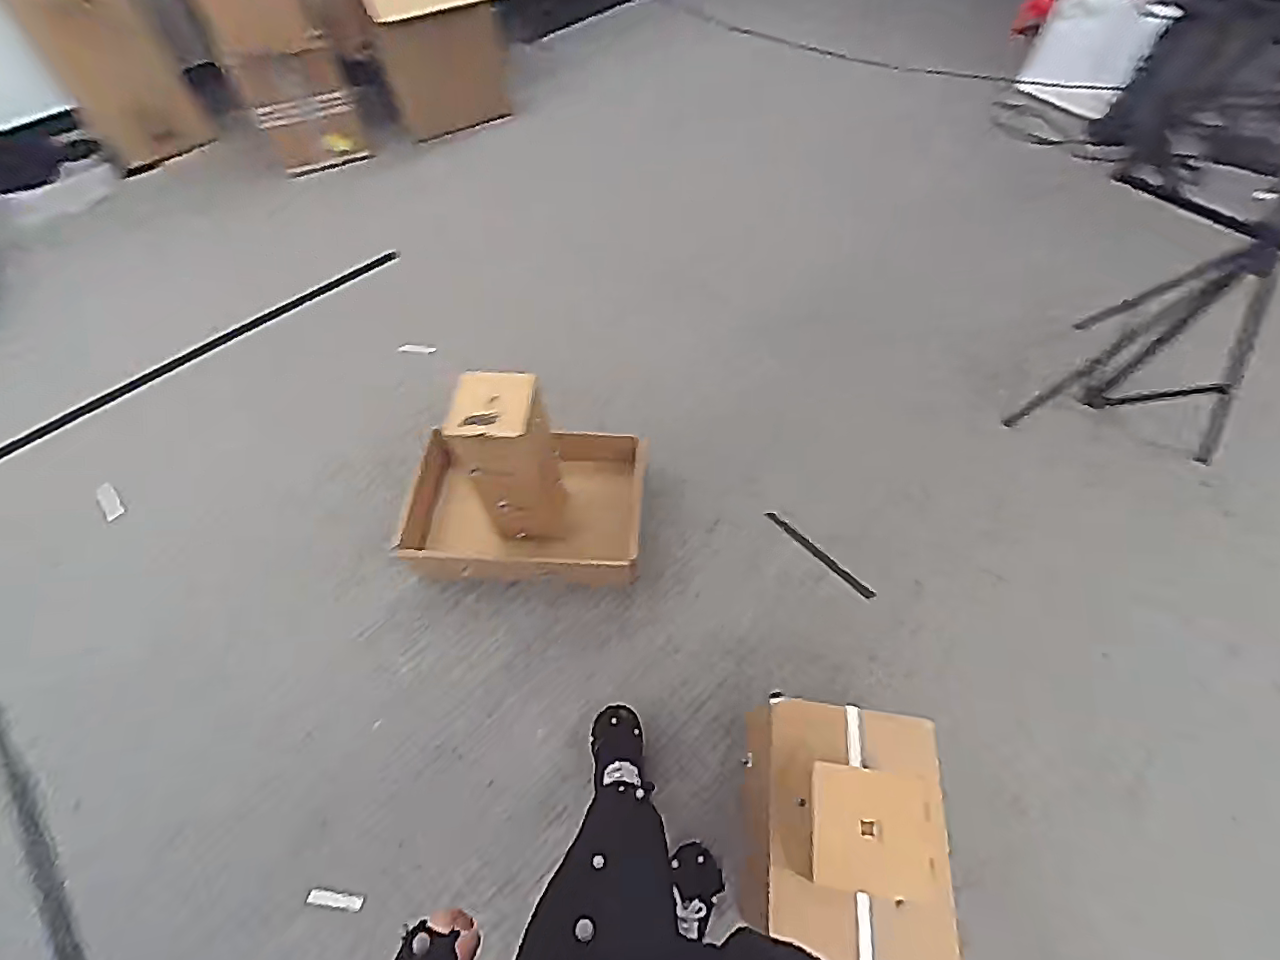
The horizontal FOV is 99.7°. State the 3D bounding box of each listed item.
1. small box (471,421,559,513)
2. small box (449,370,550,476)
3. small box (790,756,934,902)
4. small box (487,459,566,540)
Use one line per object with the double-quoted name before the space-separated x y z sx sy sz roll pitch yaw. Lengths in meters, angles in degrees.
"small box" -0.304 -0.036 1.360 0.168 0.176 0.179 4 60 4
"small box" -0.307 -0.125 1.221 0.168 0.176 0.179 3 58 3
"small box" 0.350 0.565 0.889 0.179 0.176 0.168 8 60 5
"small box" -0.305 0.048 1.498 0.168 0.176 0.179 6 60 4
